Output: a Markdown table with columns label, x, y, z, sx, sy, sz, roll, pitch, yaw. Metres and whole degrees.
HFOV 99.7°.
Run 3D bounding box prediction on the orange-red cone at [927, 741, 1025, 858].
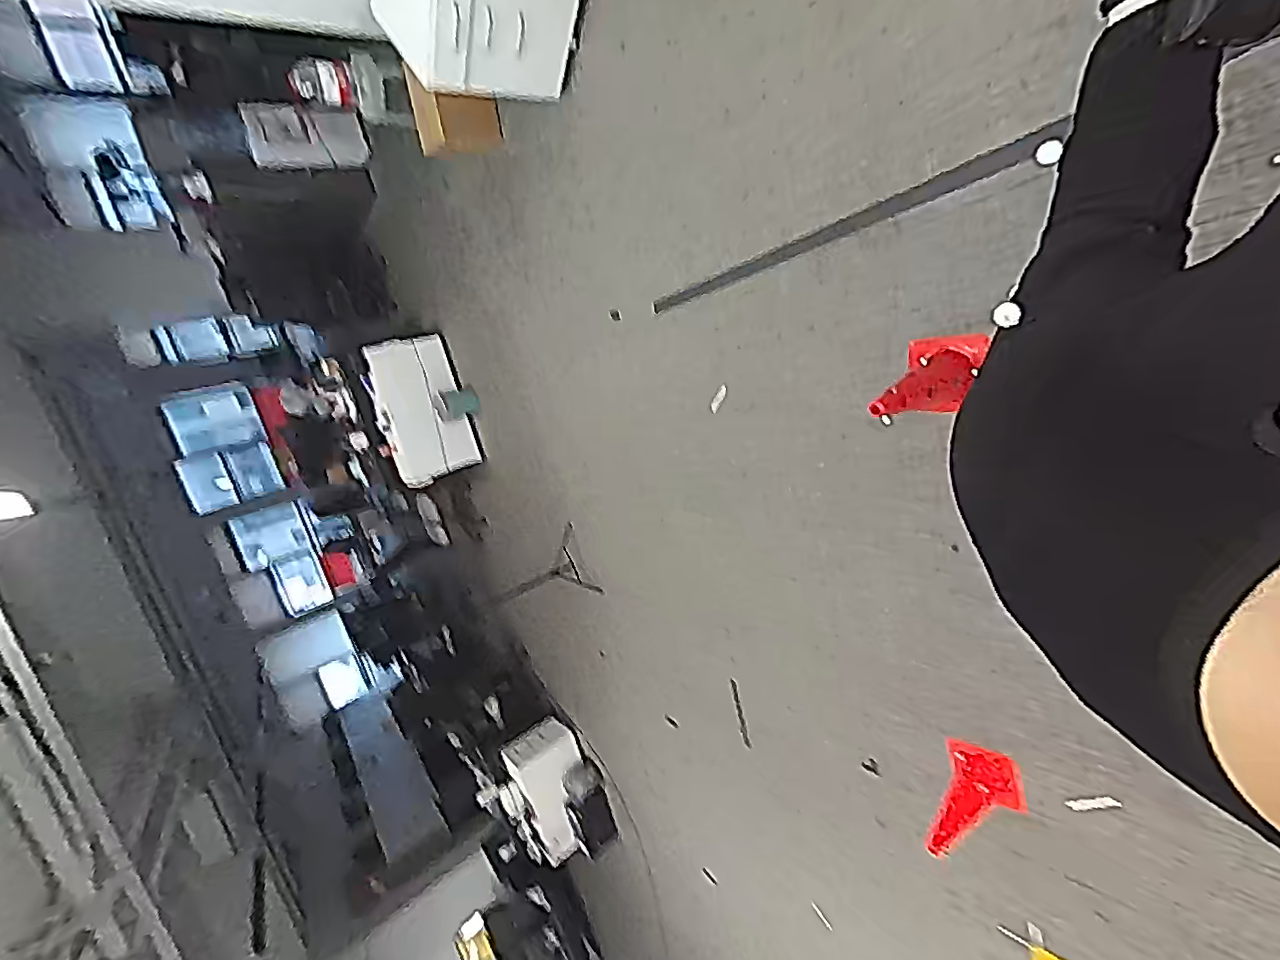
| label | x | y | z | sx | sy | sz | roll | pitch | yaw |
| --- | --- | --- | --- | --- | --- | --- | --- | --- | --- |
| orange-red cone | 0.978 | 1.008 | 1.640 | 0.198 | 0.360 | 0.199 | -3 | 108 | 56 |

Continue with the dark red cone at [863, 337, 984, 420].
| label | x | y | z | sx | sy | sz | roll | pitch | yaw |
| --- | --- | --- | --- | --- | --- | --- | --- | --- | --- |
| dark red cone | 0.662 | -0.212 | 1.319 | 0.201 | 0.394 | 0.202 | 9 | 116 | 51 |
